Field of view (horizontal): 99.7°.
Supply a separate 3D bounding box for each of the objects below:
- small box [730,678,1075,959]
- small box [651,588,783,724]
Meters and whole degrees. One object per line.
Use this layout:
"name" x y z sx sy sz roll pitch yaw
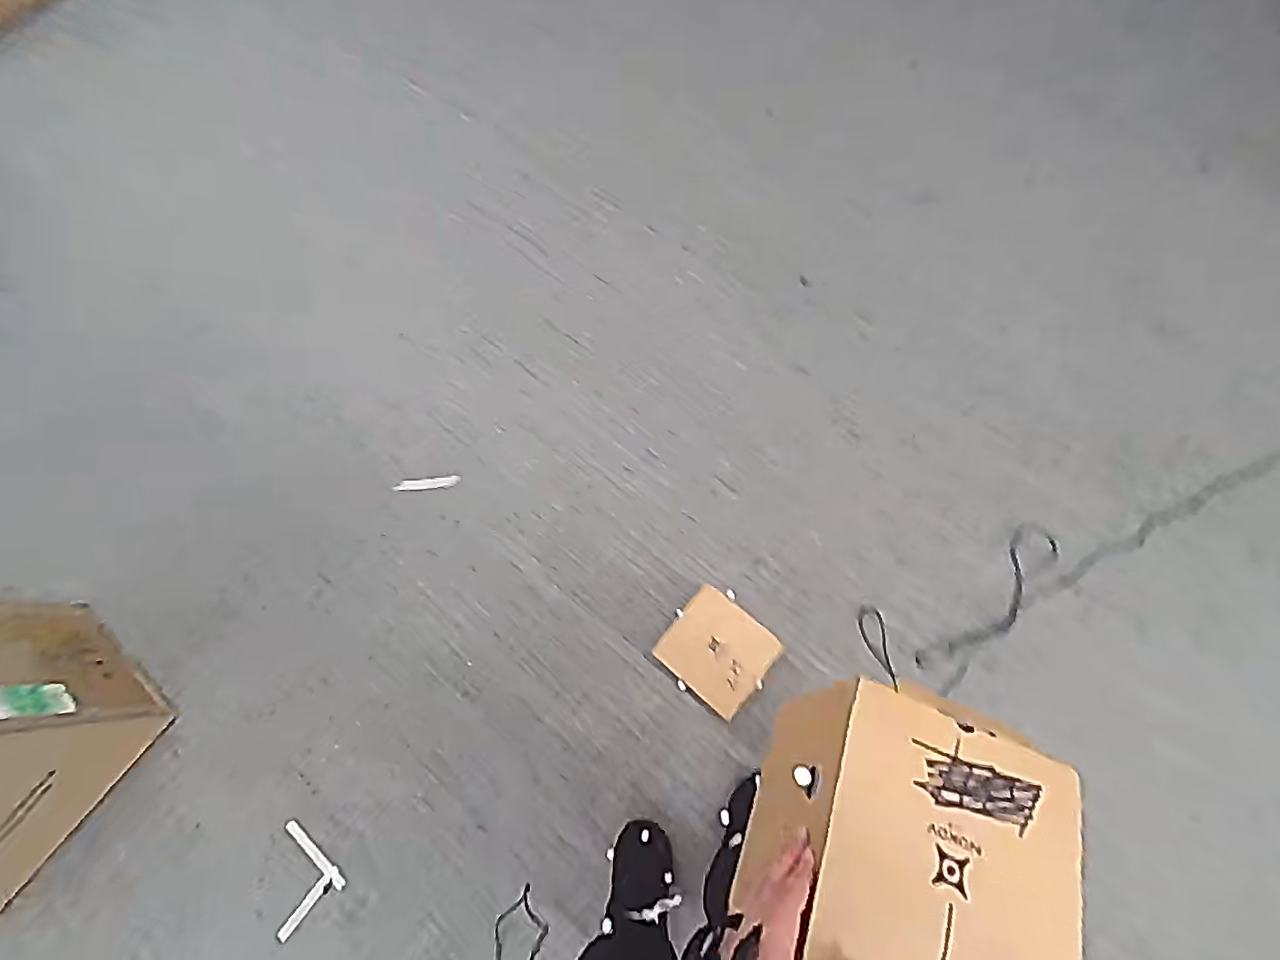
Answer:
"small box" 0.183 0.278 0.412 0.168 0.176 0.179 22 61 5
"small box" 0.144 0.332 1.030 0.179 0.176 0.168 38 82 17
